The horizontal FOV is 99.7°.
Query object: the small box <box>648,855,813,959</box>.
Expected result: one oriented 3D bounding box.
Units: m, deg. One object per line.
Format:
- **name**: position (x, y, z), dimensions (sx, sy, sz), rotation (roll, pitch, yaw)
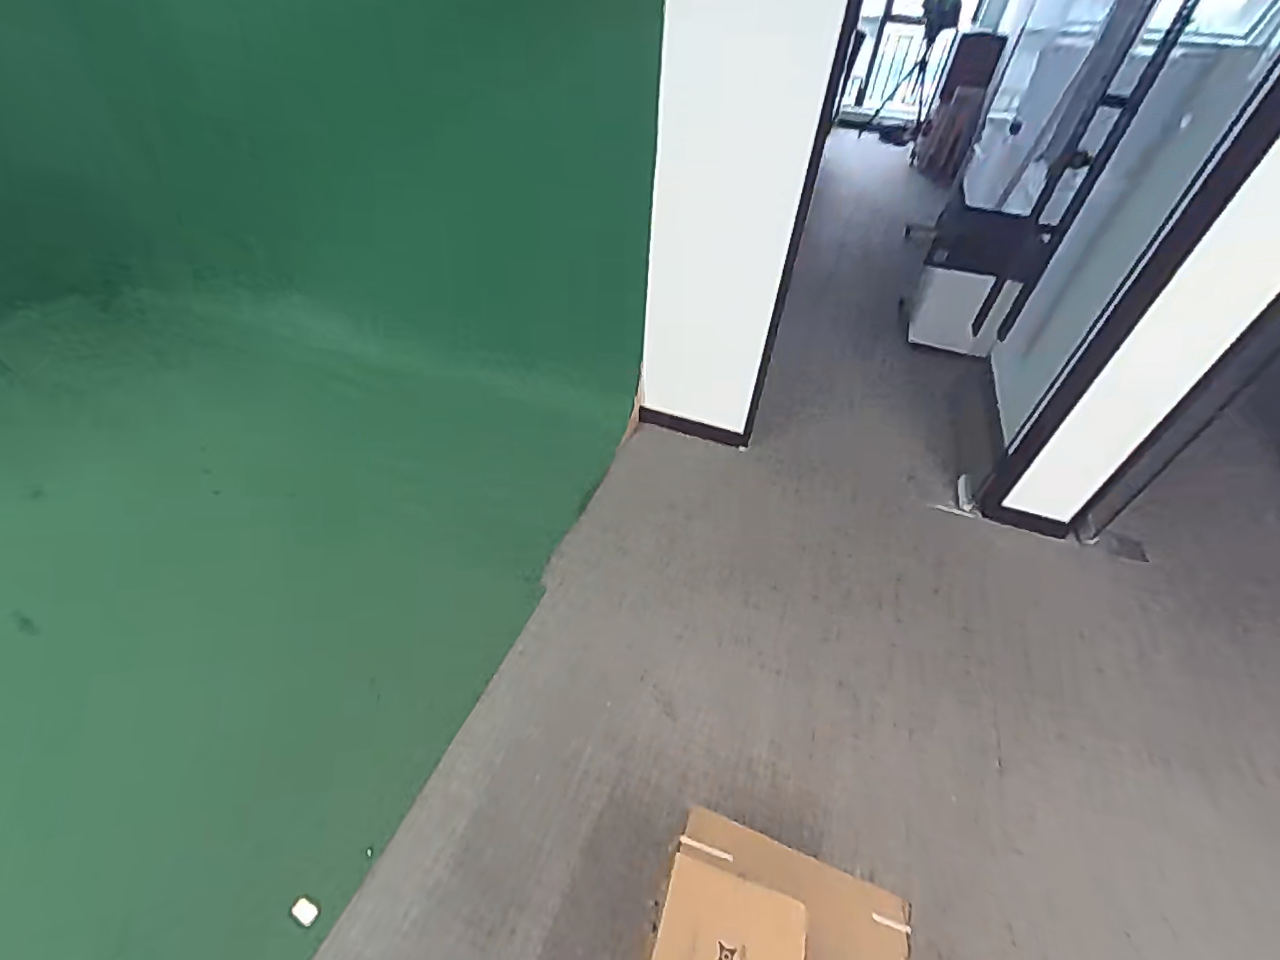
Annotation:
- **small box**: position (0.102, 0.619, 0.683), dimensions (0.179, 0.176, 0.168), rotation (15, 42, 13)
